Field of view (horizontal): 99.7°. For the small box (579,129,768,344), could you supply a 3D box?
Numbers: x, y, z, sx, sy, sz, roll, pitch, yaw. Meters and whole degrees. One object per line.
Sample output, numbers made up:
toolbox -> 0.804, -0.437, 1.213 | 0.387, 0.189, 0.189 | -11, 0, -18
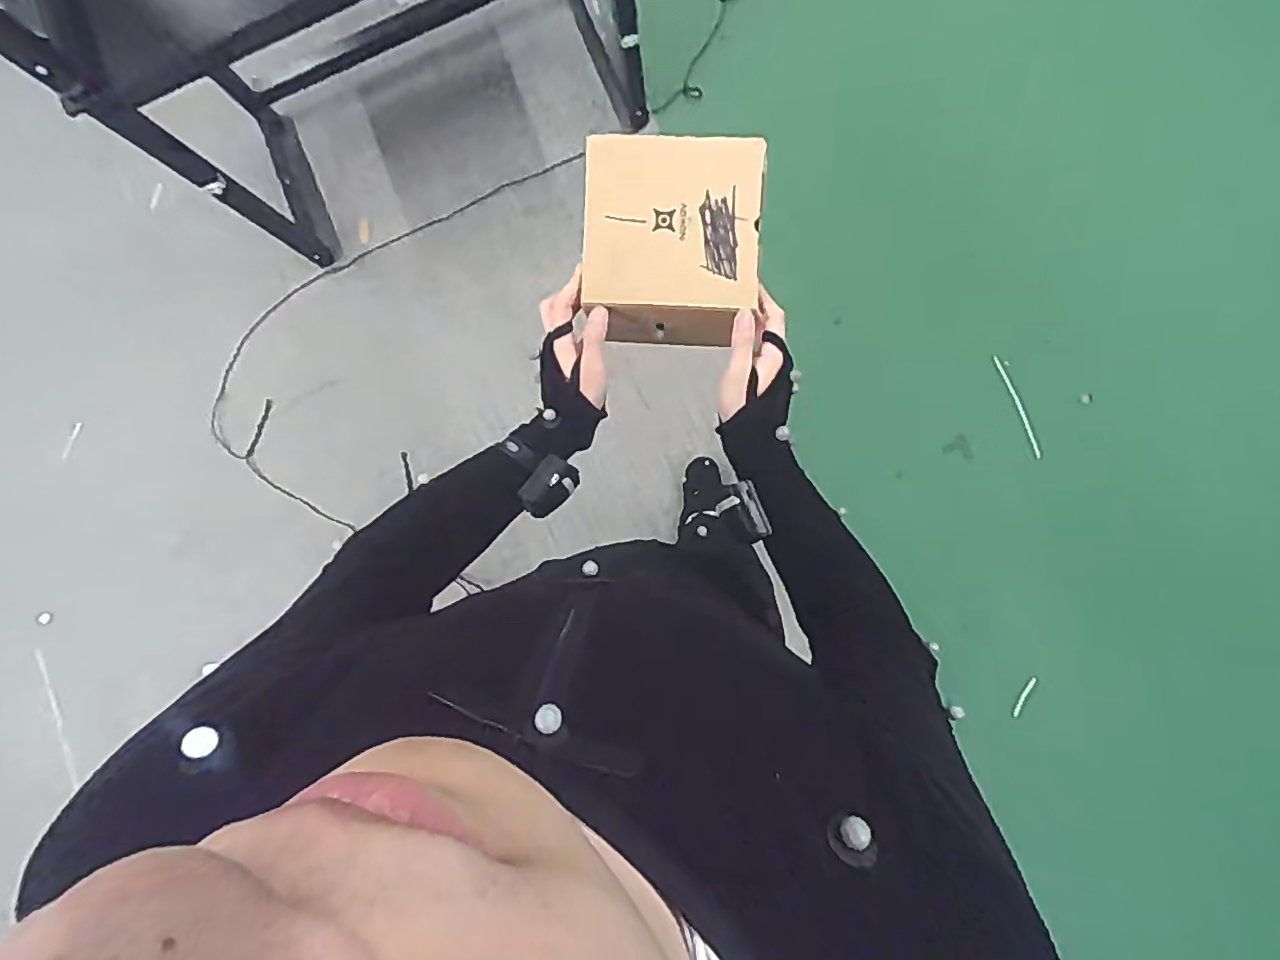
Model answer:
small box -> 0.034, -0.251, 0.595 | 0.179, 0.176, 0.168 | 2, 91, 3
